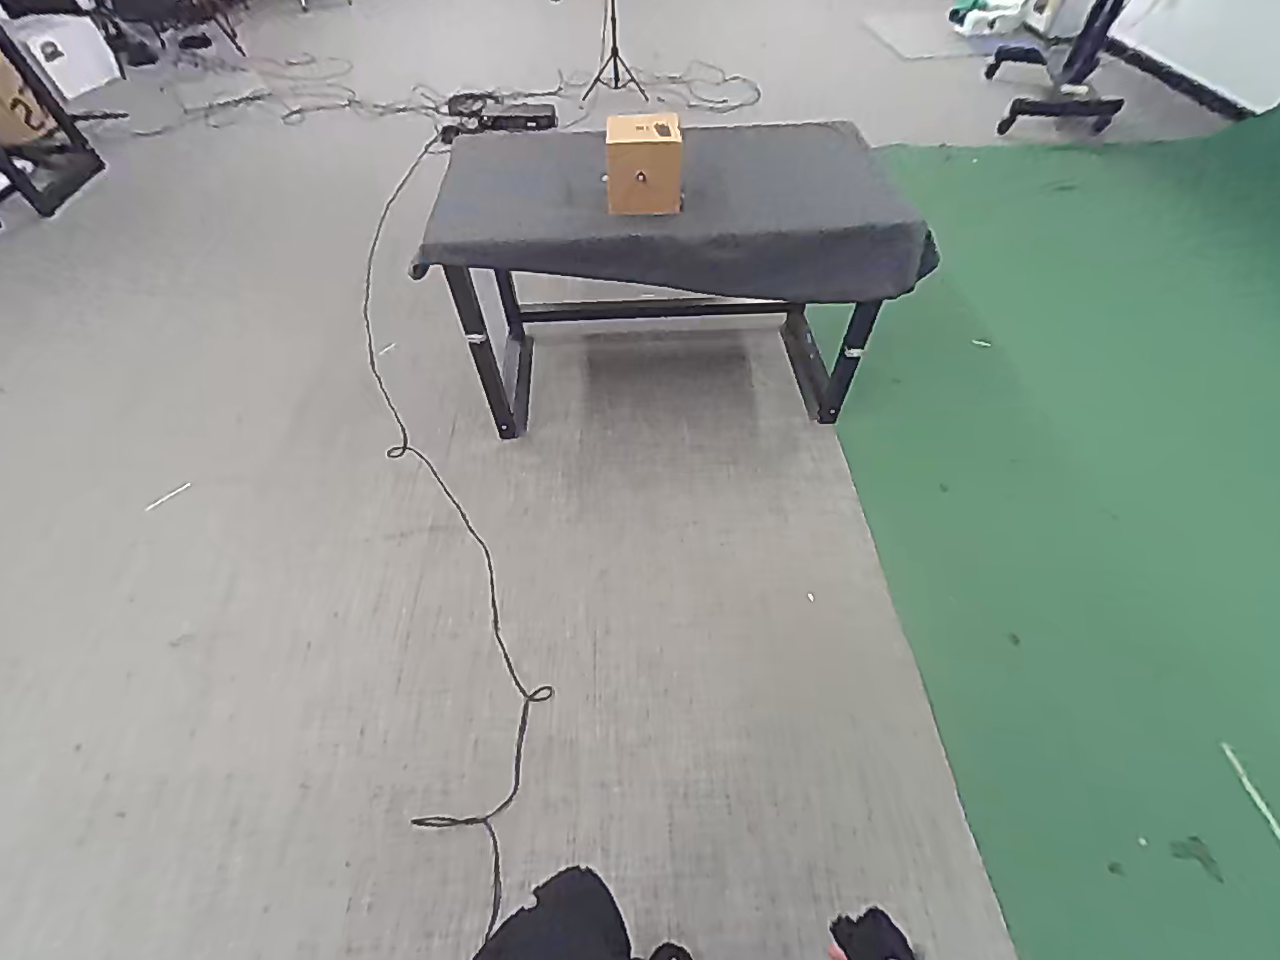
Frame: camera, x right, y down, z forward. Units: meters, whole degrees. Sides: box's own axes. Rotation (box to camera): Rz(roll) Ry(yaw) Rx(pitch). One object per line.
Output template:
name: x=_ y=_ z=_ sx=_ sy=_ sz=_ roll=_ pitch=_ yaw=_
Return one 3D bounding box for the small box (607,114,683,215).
small box: x=0.011 y=-0.776 z=1.335 sx=0.179 sy=0.176 sz=0.168 roll=-1 pitch=53 yaw=1
